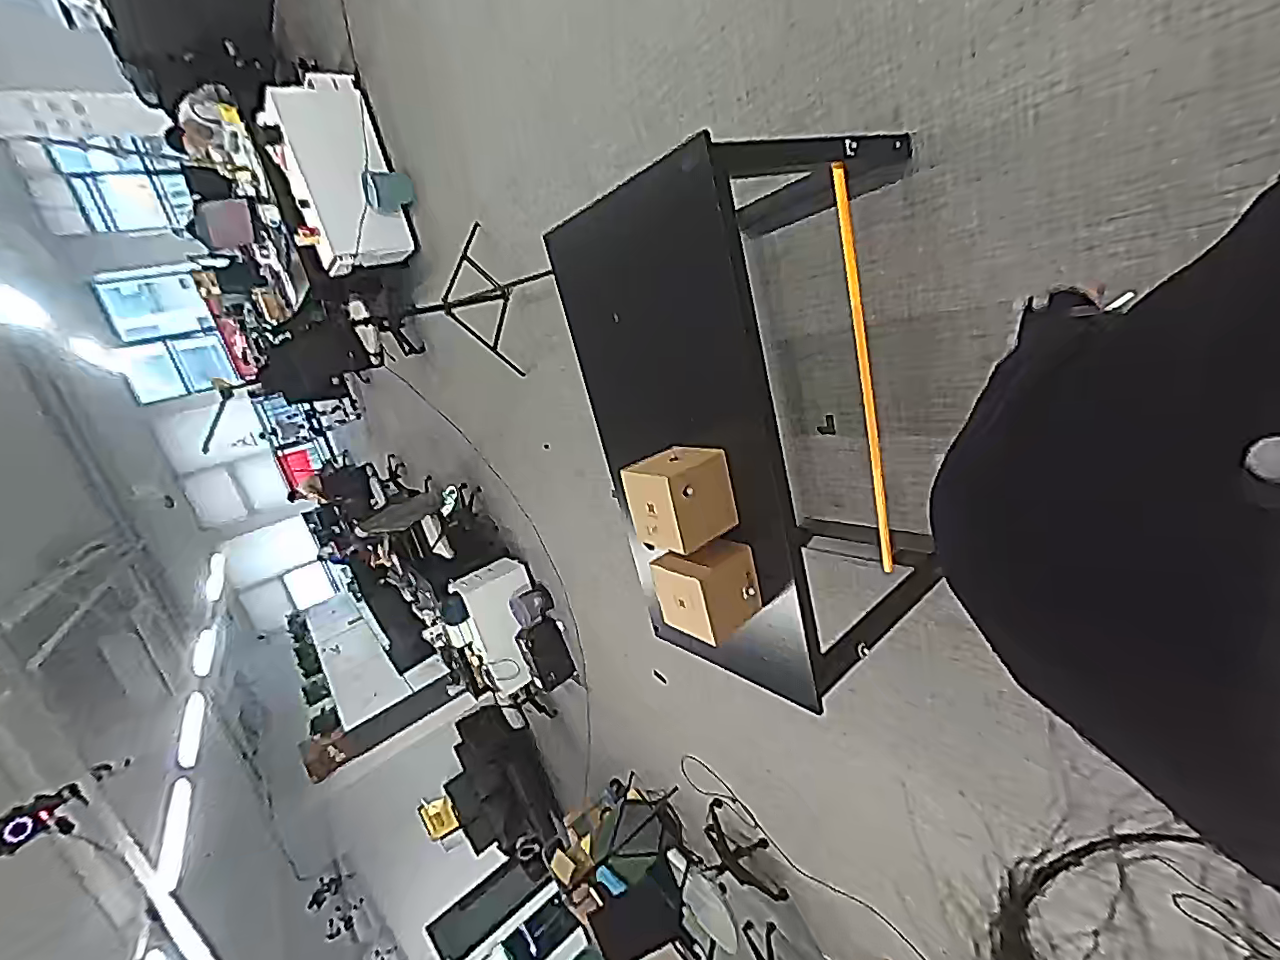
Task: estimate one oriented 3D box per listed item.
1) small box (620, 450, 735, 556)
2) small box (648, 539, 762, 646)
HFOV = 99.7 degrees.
[{"bbox_3d":[0.086,0.040,1.190,0.168,0.176,0.179,10,119,53],"label":"small box"},{"bbox_3d":[0.150,0.245,1.240,0.179,0.176,0.168,6,117,53],"label":"small box"}]
